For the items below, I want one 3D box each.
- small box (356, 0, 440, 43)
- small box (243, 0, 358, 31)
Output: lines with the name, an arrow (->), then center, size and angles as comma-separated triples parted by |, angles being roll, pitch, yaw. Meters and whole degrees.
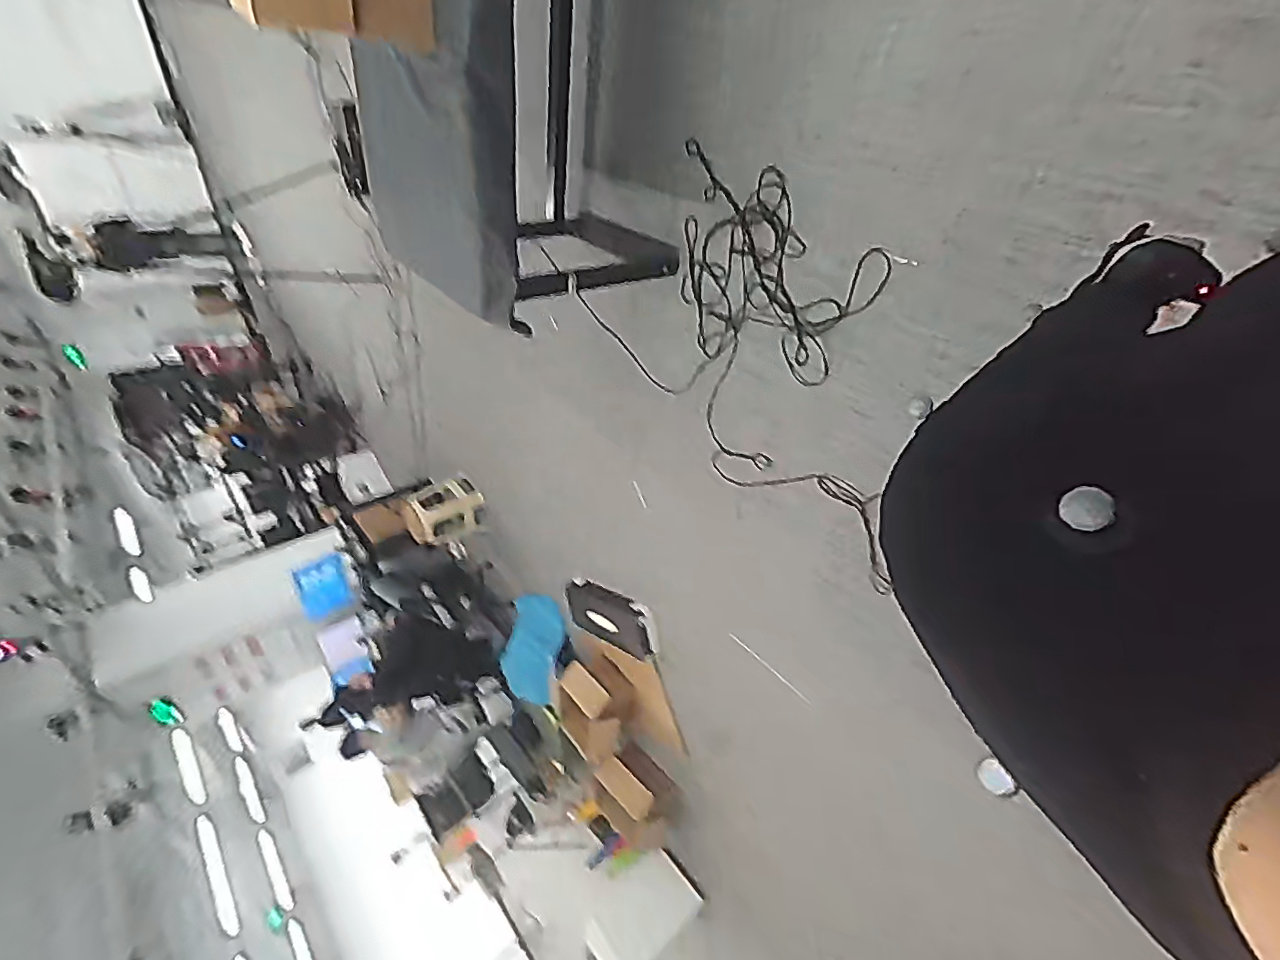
small box -> -0.508, -0.993, 1.060 | 0.168, 0.176, 0.179 | 46, 140, 28
small box -> -0.616, -0.930, 0.954 | 0.168, 0.176, 0.179 | 47, 140, 27
